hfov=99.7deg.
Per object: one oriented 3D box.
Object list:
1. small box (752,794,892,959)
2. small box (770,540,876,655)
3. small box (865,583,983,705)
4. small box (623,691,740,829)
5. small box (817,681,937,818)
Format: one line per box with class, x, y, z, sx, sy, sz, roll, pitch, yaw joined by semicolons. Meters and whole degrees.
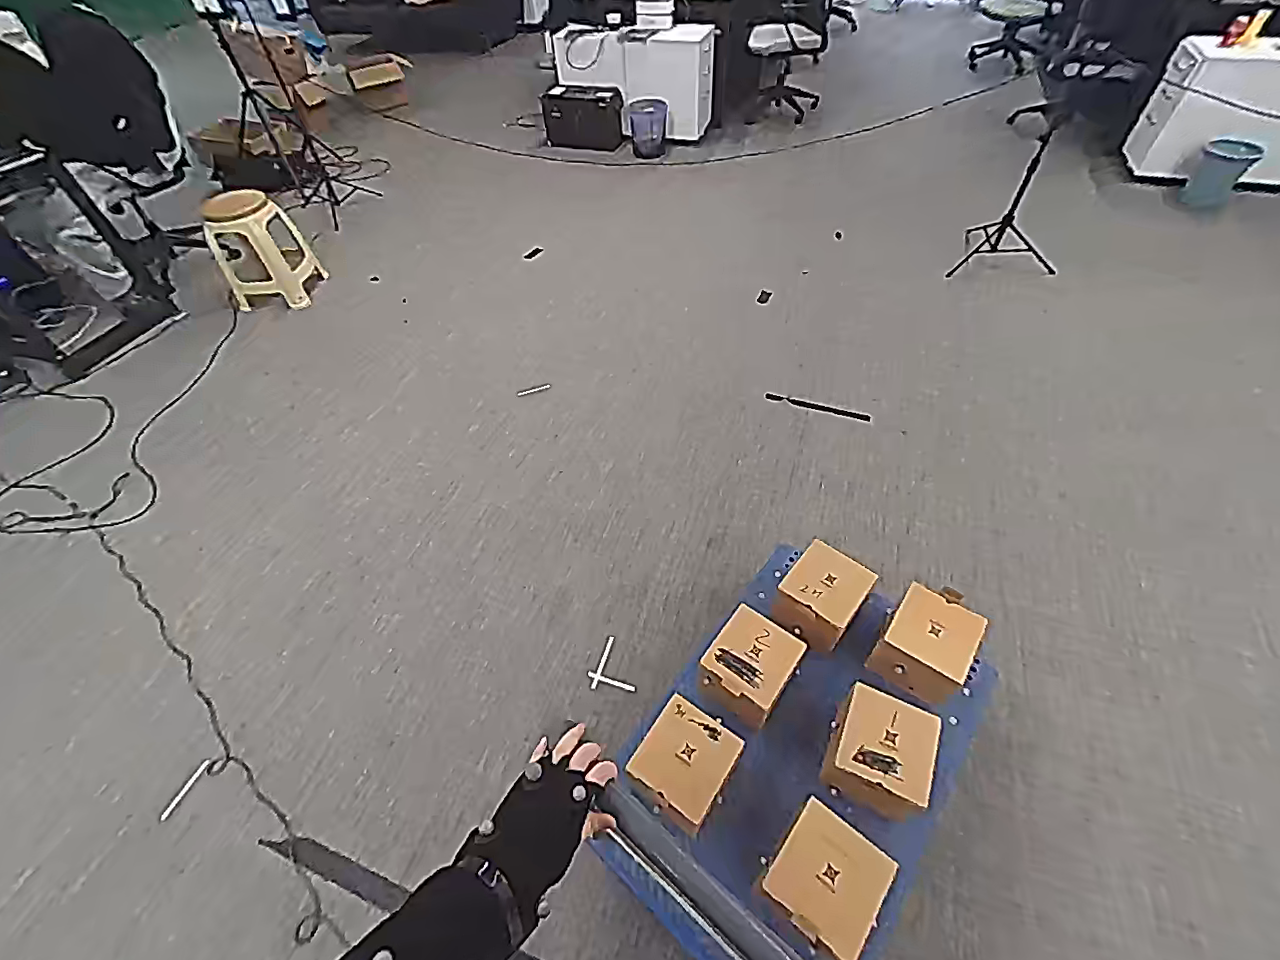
small box;0.316;0.715;0.974;0.168;0.176;0.179;33;59;26
small box;0.435;0.287;1.313;0.168;0.176;0.179;34;61;27
small box;0.636;0.377;1.231;0.168;0.176;0.179;30;58;25
small box;0.086;0.574;1.101;0.168;0.176;0.179;30;59;24
small box;0.472;0.551;1.097;0.168;0.176;0.179;21;54;20
